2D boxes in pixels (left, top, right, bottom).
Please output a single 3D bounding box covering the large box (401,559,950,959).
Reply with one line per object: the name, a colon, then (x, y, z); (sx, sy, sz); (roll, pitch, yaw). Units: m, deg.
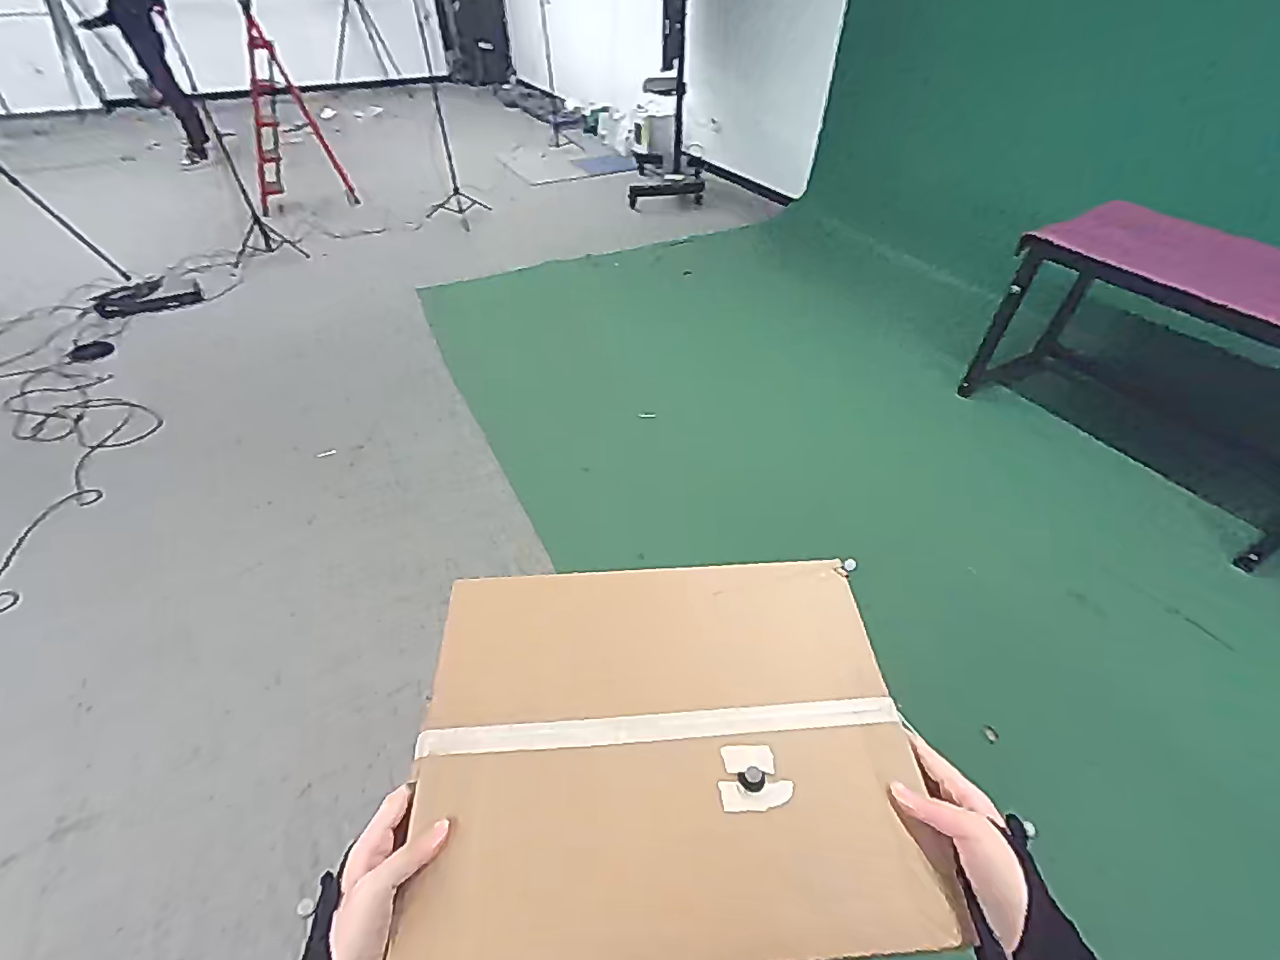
large box: (0.015, 0.309, 0.588); (0.408, 0.320, 0.320); (-2, 49, -4)
